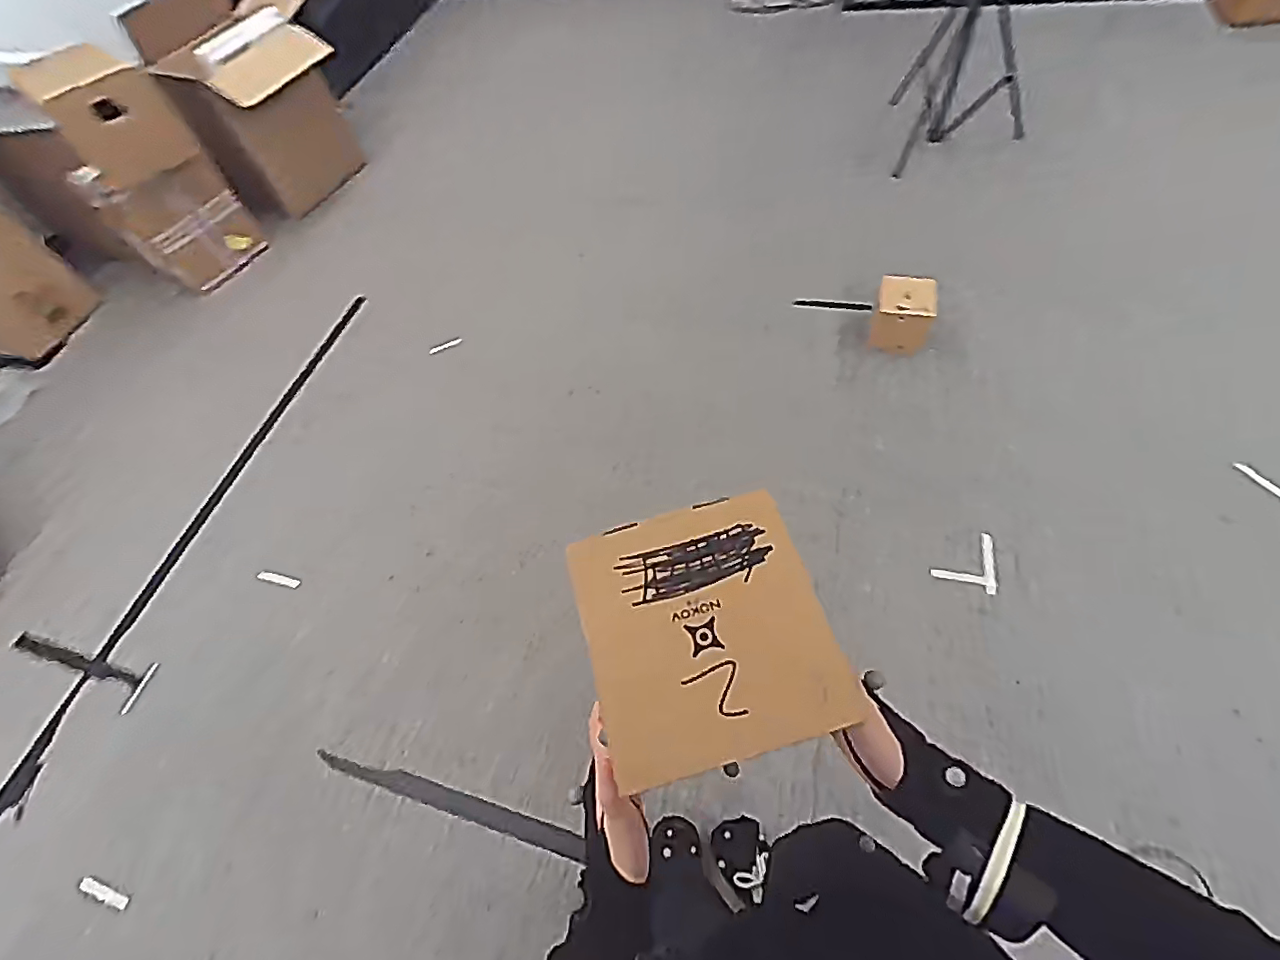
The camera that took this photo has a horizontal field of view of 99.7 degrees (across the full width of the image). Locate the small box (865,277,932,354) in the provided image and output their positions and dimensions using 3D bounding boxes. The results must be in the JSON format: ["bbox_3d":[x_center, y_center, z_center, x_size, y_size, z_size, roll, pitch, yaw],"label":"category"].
[{"bbox_3d":[0.866,-0.554,1.821,0.168,0.176,0.179,9,60,13],"label":"small box"}]
